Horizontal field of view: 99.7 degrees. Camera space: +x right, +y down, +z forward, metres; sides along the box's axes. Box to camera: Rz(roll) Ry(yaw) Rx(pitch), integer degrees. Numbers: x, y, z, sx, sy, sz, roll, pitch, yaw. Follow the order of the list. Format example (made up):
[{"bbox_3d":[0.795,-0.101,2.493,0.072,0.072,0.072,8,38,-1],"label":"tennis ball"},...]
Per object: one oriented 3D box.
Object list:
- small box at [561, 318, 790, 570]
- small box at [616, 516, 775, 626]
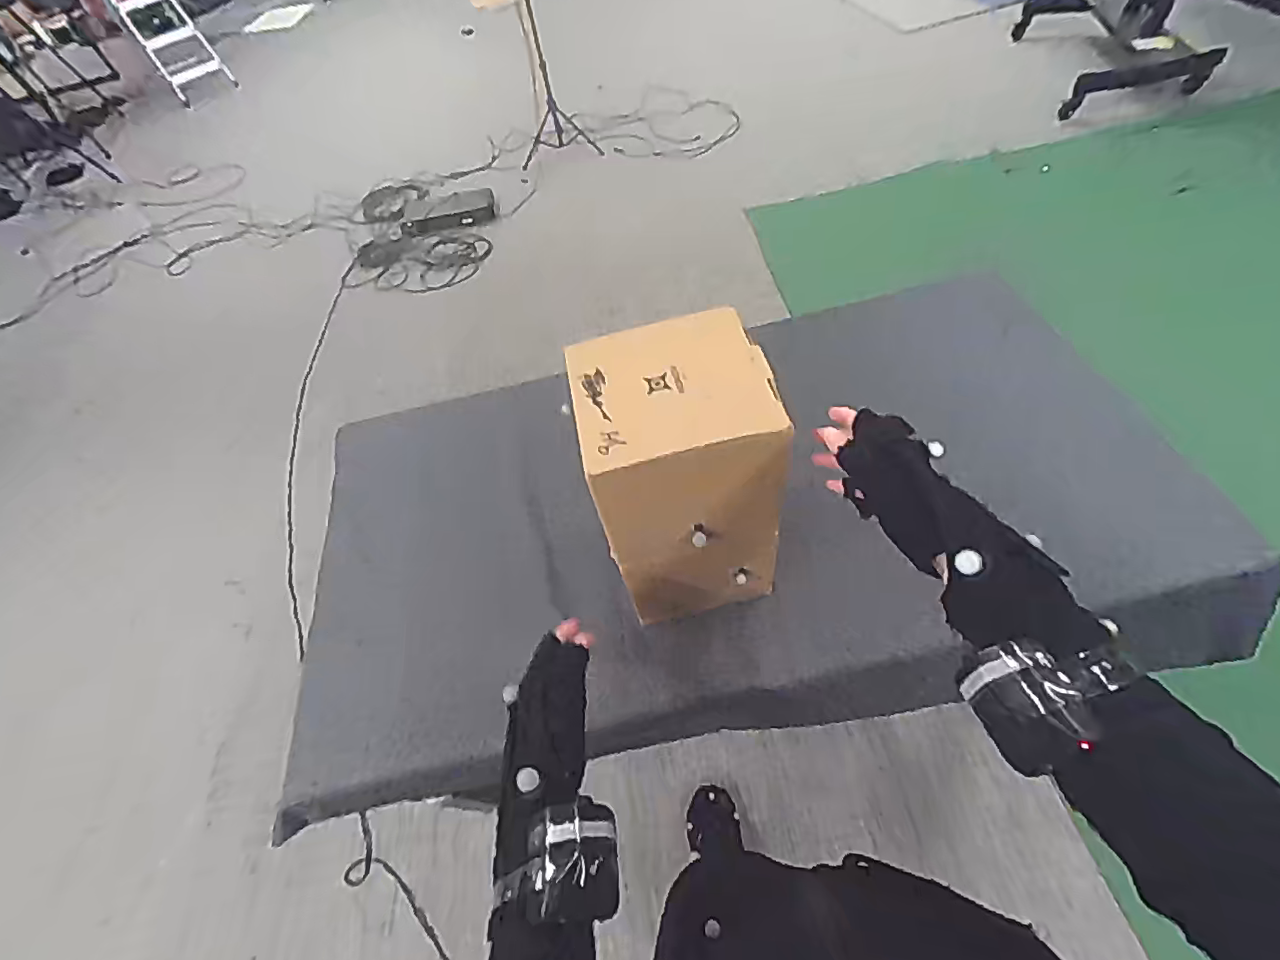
[{"bbox_3d":[0.033,-0.030,0.553,0.179,0.176,0.168,-16,54,-2],"label":"small box"},{"bbox_3d":[0.056,0.063,0.683,0.179,0.176,0.168,-15,53,0],"label":"small box"}]
